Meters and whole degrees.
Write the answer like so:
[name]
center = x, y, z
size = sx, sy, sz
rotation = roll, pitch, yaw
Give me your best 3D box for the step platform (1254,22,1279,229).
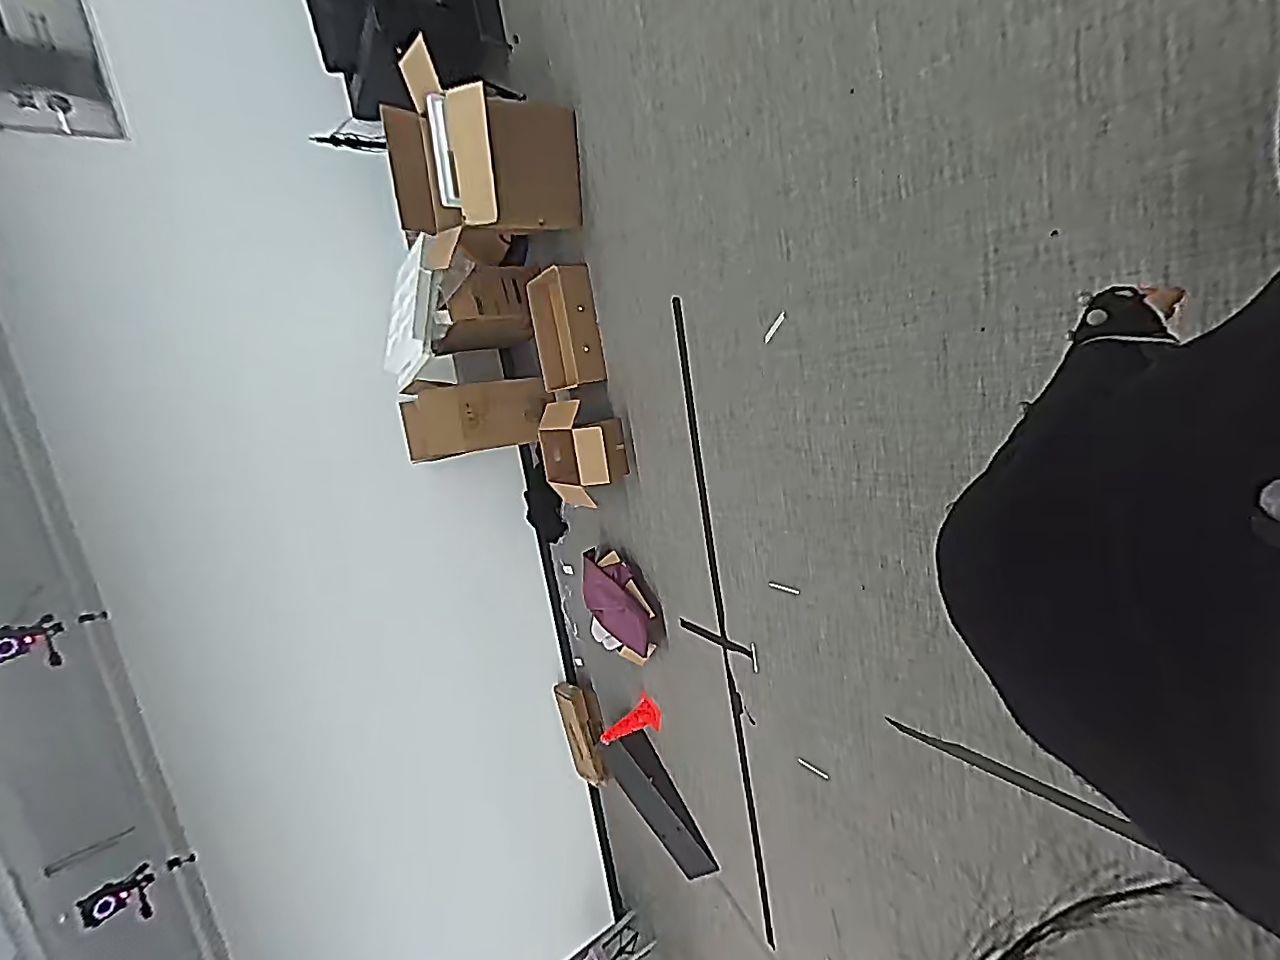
[step platform]
center = 1.061, -0.458, 0.469
size = 0.684, 0.204, 0.286
rotation = 3, 105, 56
